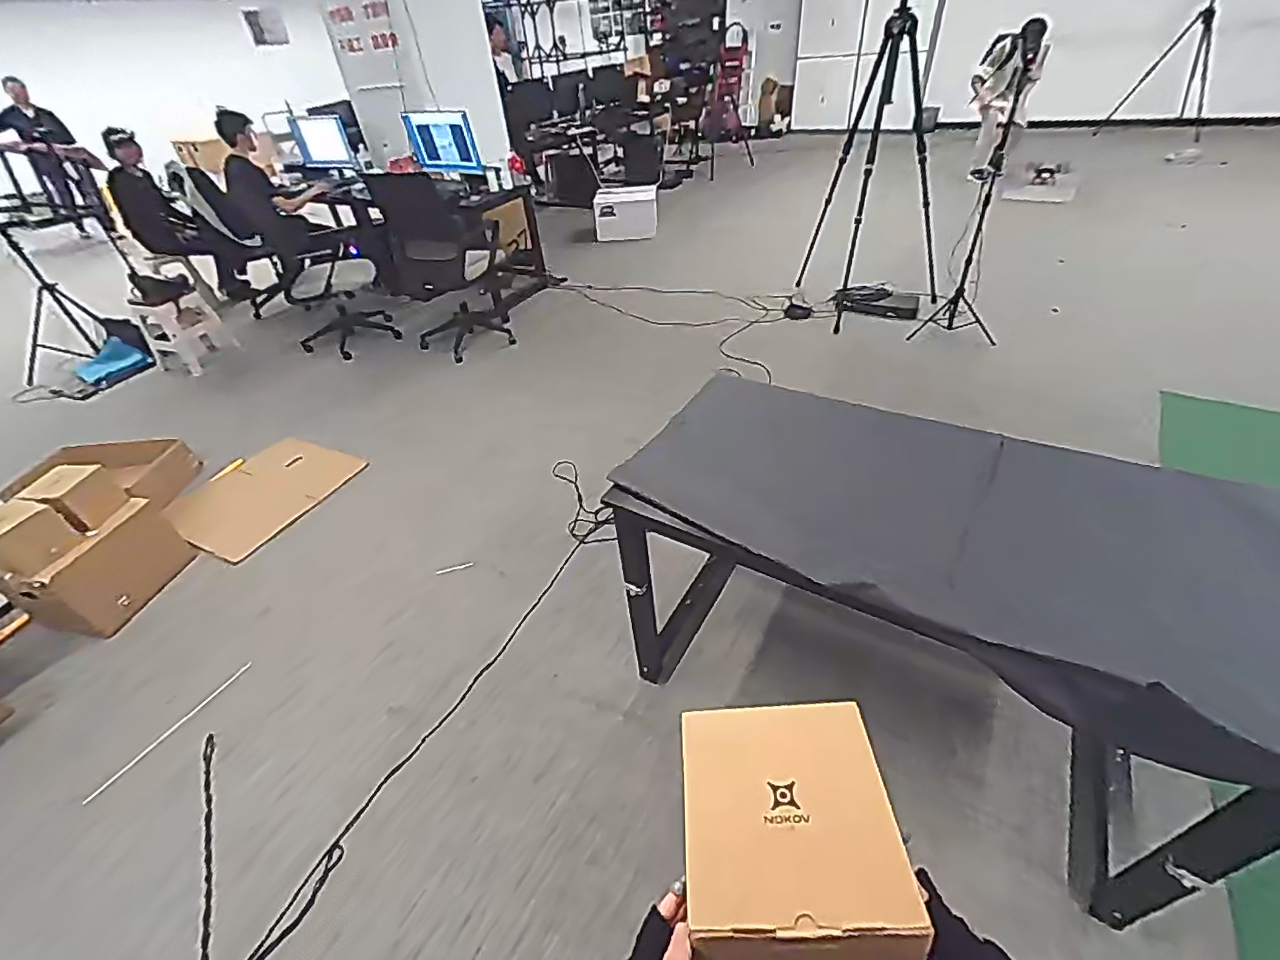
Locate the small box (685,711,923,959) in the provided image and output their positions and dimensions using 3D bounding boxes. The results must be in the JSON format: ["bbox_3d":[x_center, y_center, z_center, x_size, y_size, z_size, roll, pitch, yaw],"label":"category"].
[{"bbox_3d":[0.130,0.340,0.494,0.168,0.176,0.179,-6,33,6],"label":"small box"}]
